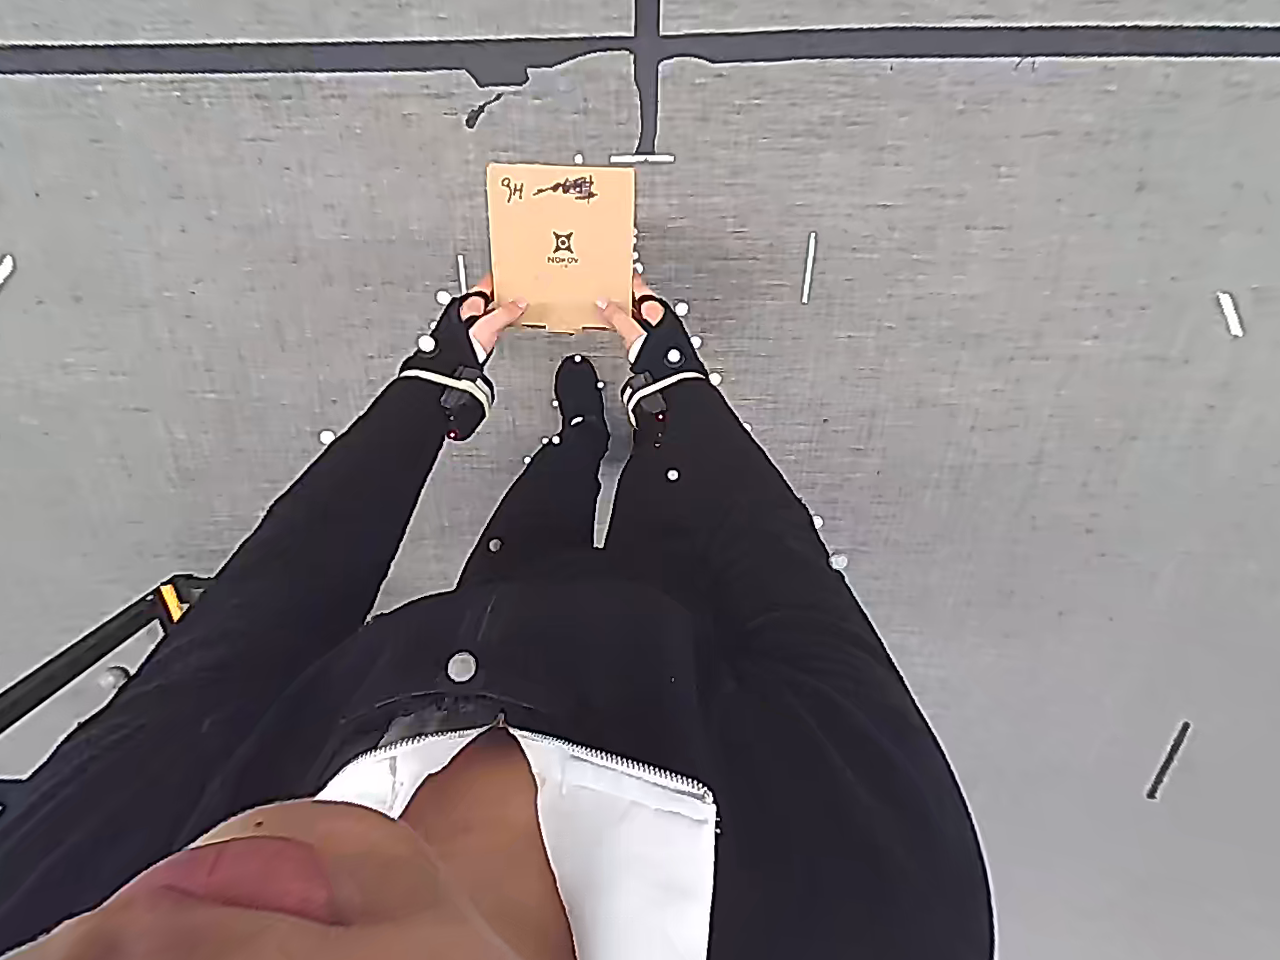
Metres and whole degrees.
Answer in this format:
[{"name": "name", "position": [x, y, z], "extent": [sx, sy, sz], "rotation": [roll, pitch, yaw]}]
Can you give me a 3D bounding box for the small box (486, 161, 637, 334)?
[{"name": "small box", "position": [-0.090, -0.288, 0.688], "extent": [0.168, 0.176, 0.179], "rotation": [2, 111, -2]}]
